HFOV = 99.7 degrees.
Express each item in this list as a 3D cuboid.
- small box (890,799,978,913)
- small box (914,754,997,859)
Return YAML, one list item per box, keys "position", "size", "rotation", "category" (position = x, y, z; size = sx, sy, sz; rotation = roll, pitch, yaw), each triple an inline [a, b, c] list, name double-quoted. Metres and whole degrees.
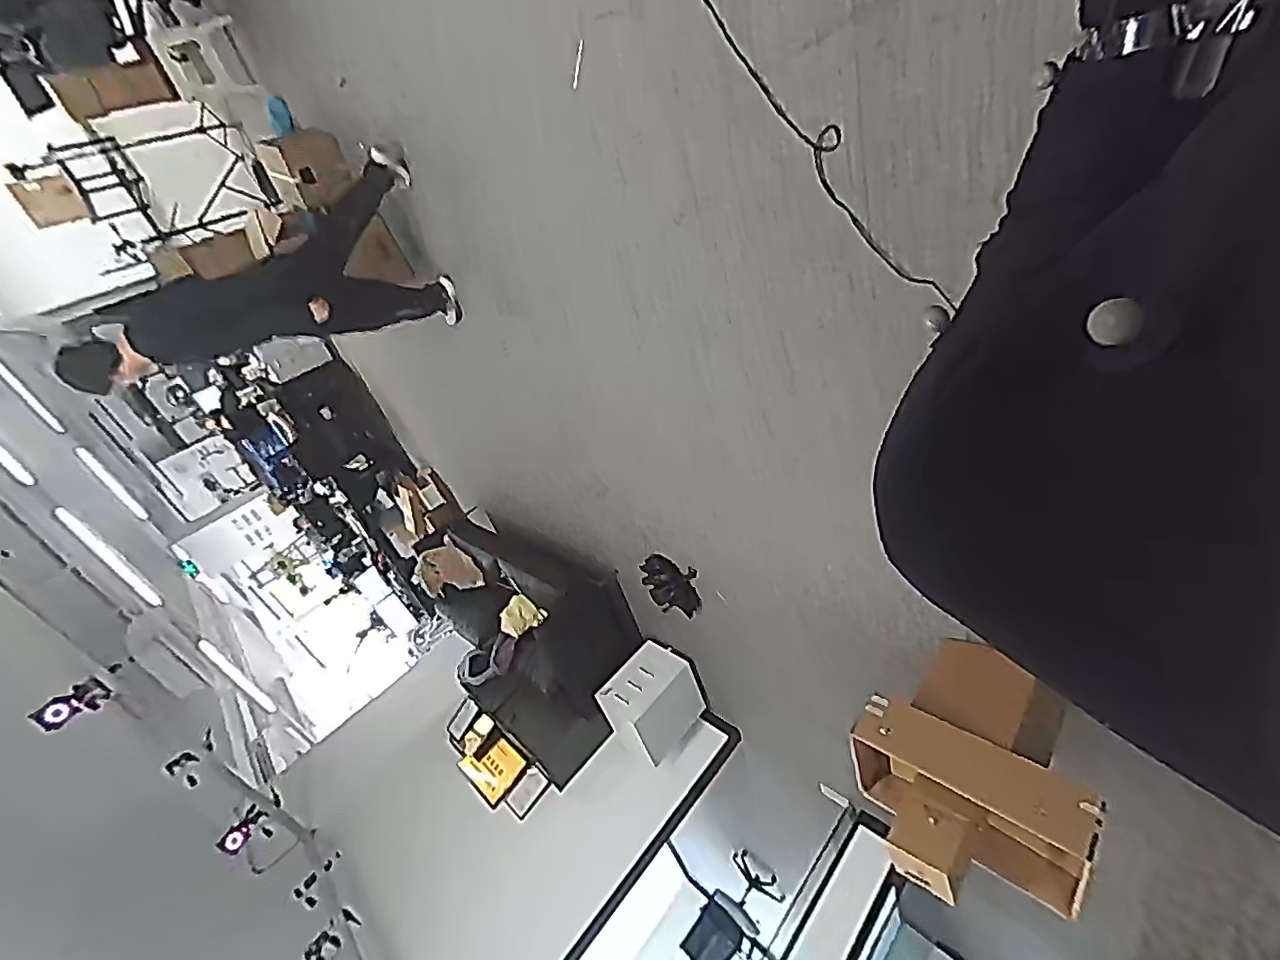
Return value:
- position: [0.849, 1.072, 1.553]
  size: [0.168, 0.176, 0.179]
  rotation: [6, 128, 48]
  category: "small box"
- position: [0.957, 0.979, 1.634]
  size: [0.168, 0.176, 0.179]
  rotation: [7, 128, 48]
  category: "small box"
